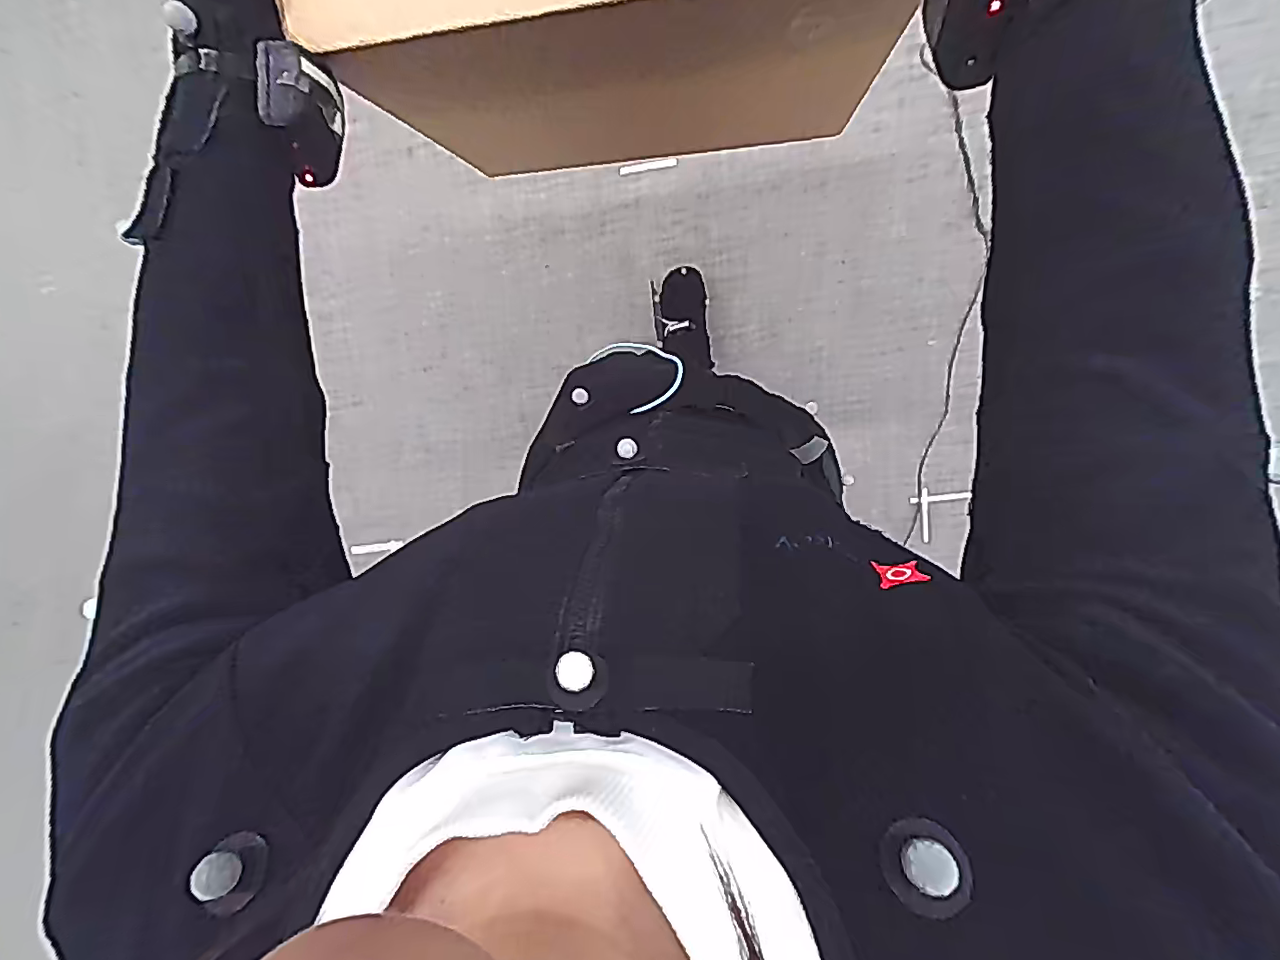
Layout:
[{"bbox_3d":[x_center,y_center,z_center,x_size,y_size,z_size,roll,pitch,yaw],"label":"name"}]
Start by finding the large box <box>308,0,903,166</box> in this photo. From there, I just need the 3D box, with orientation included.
[{"bbox_3d":[-0.014,-0.485,0.430,0.408,0.320,0.320,-2,106,8],"label":"large box"}]
